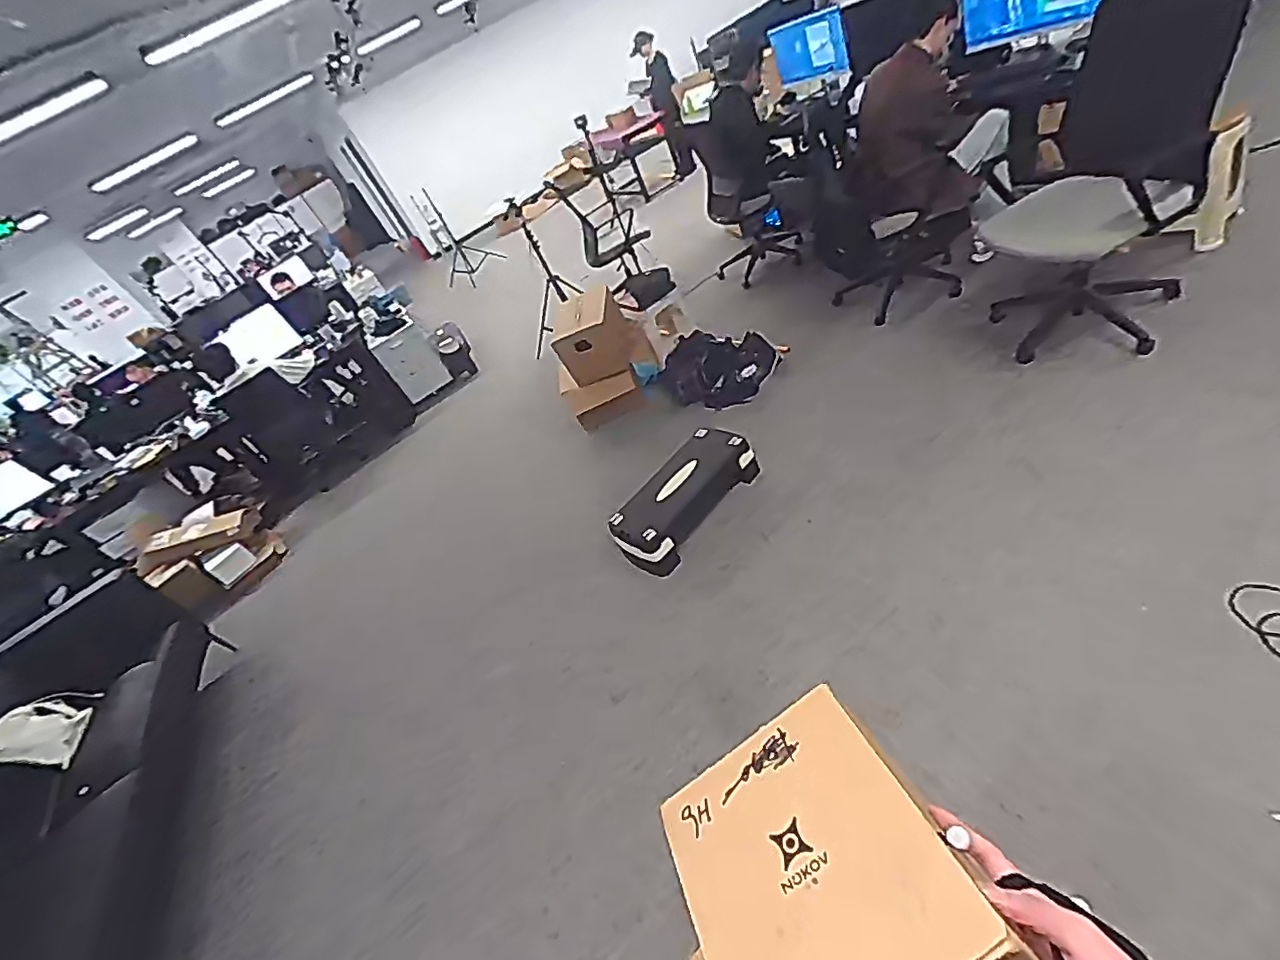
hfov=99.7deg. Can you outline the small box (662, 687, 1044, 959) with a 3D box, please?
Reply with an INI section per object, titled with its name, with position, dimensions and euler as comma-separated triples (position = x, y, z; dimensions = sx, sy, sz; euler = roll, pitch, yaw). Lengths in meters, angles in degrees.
[small box]
position = 0.148, 0.297, 0.392
dimensions = 0.168, 0.176, 0.179
euler = -39, 30, 3
